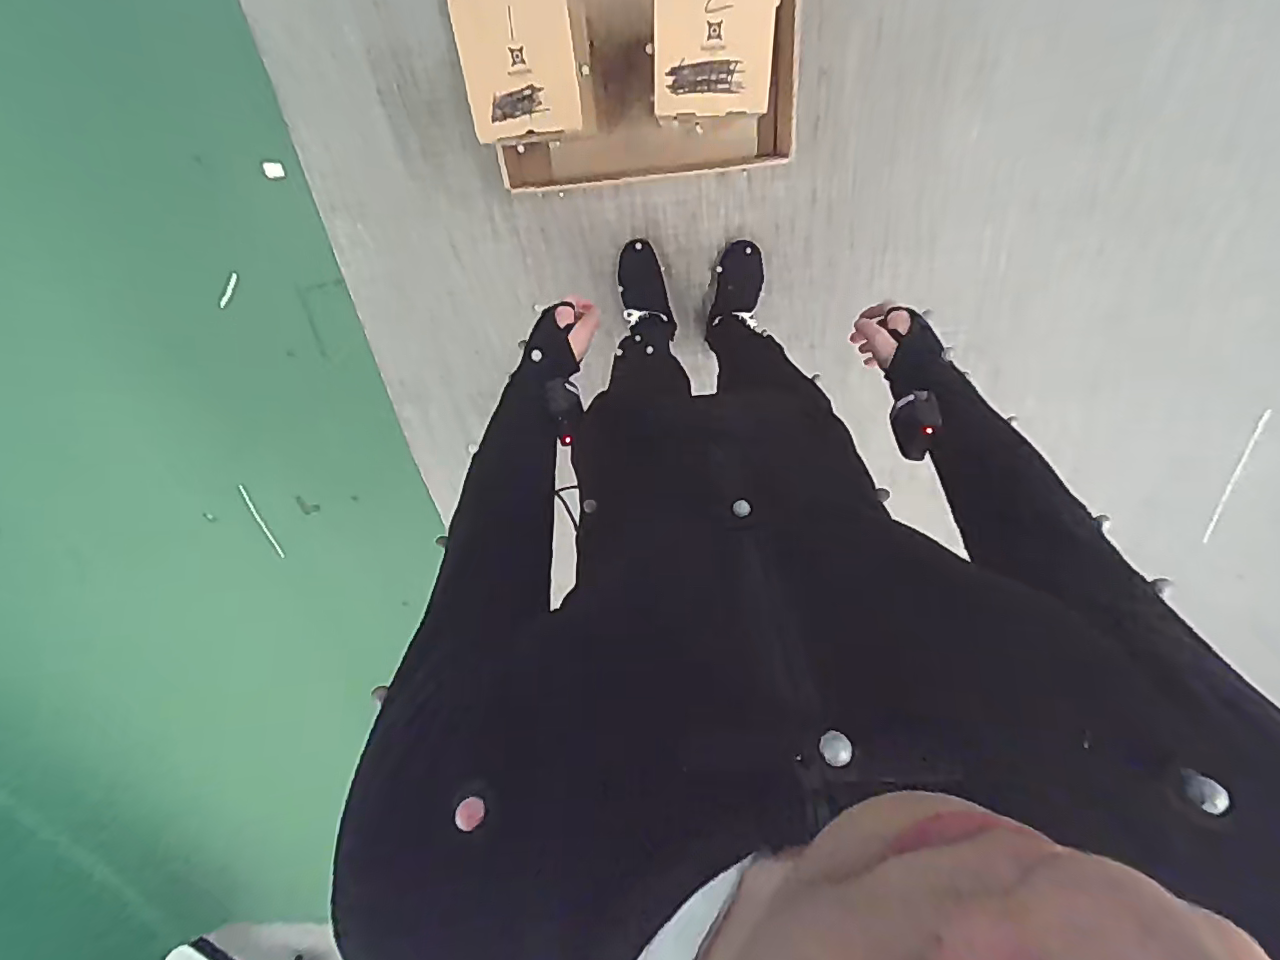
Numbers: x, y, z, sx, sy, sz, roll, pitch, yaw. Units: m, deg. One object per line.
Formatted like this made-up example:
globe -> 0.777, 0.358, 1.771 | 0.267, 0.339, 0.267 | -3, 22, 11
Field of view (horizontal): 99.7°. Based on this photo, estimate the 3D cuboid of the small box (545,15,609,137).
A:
small box -> -0.156, -0.810, 1.098 | 0.168, 0.176, 0.179 | -2, 121, 4

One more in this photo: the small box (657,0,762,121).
small box -> 0.114, -0.737, 0.940 | 0.168, 0.176, 0.179 | -2, 123, 5

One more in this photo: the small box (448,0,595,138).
small box -> -0.167, -0.633, 0.824 | 0.168, 0.176, 0.179 | -4, 121, 5

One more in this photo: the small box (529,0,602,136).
small box -> -0.161, -0.722, 0.962 | 0.168, 0.176, 0.179 | -2, 122, 4
